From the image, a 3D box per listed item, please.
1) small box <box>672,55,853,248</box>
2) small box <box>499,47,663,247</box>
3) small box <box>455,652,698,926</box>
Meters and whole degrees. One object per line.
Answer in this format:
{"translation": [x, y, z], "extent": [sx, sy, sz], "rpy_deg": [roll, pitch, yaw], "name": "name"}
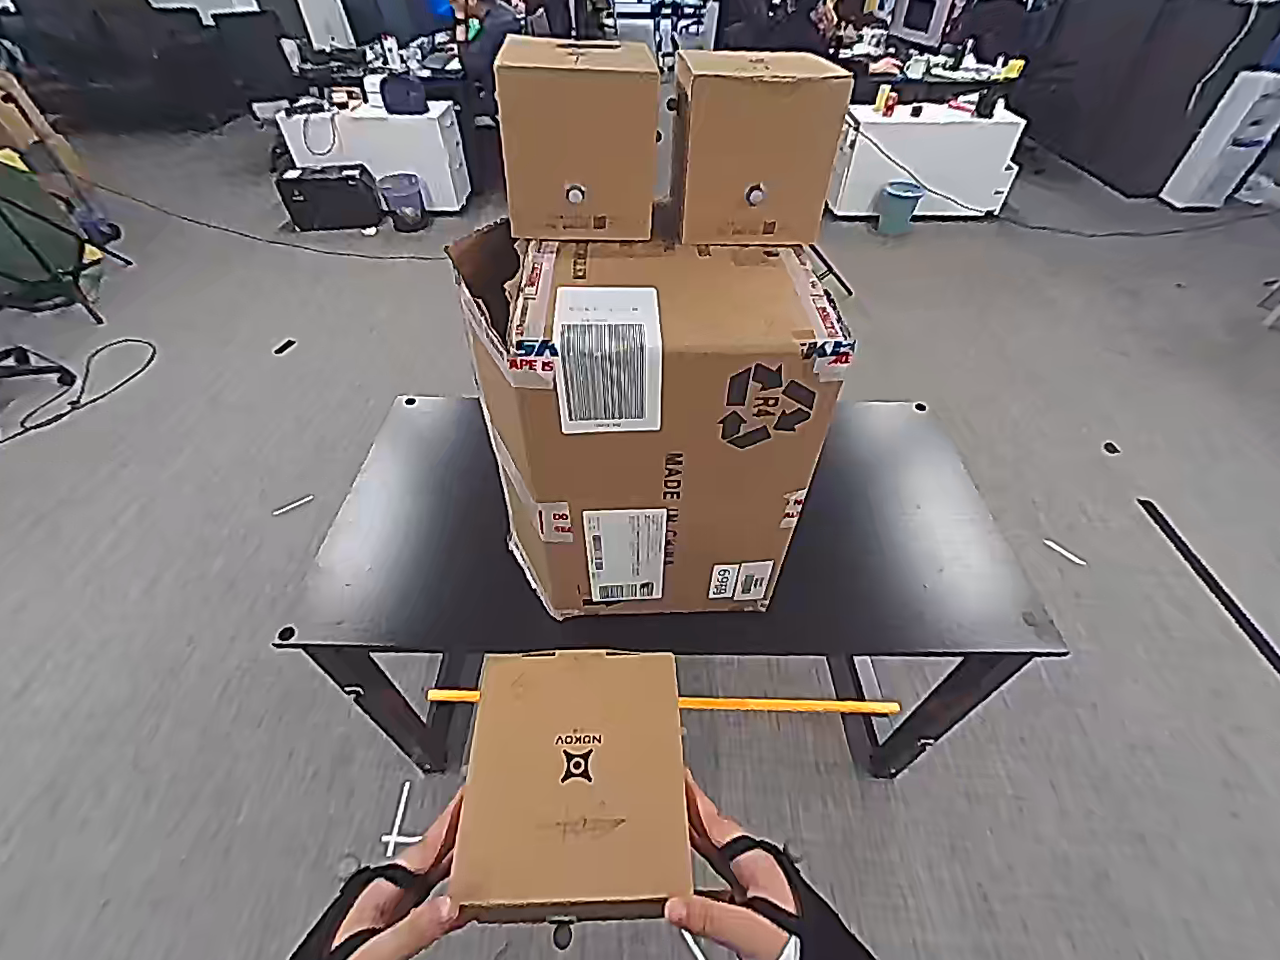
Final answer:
{"translation": [0.130, -0.399, 0.658], "extent": [0.168, 0.176, 0.179], "rpy_deg": [-2, 45, -2], "name": "small box"}
{"translation": [-0.069, -0.398, 0.649], "extent": [0.168, 0.176, 0.179], "rpy_deg": [-1, 44, -5], "name": "small box"}
{"translation": [-0.048, 0.270, 0.474], "extent": [0.168, 0.176, 0.179], "rpy_deg": [0, 48, -3], "name": "small box"}
